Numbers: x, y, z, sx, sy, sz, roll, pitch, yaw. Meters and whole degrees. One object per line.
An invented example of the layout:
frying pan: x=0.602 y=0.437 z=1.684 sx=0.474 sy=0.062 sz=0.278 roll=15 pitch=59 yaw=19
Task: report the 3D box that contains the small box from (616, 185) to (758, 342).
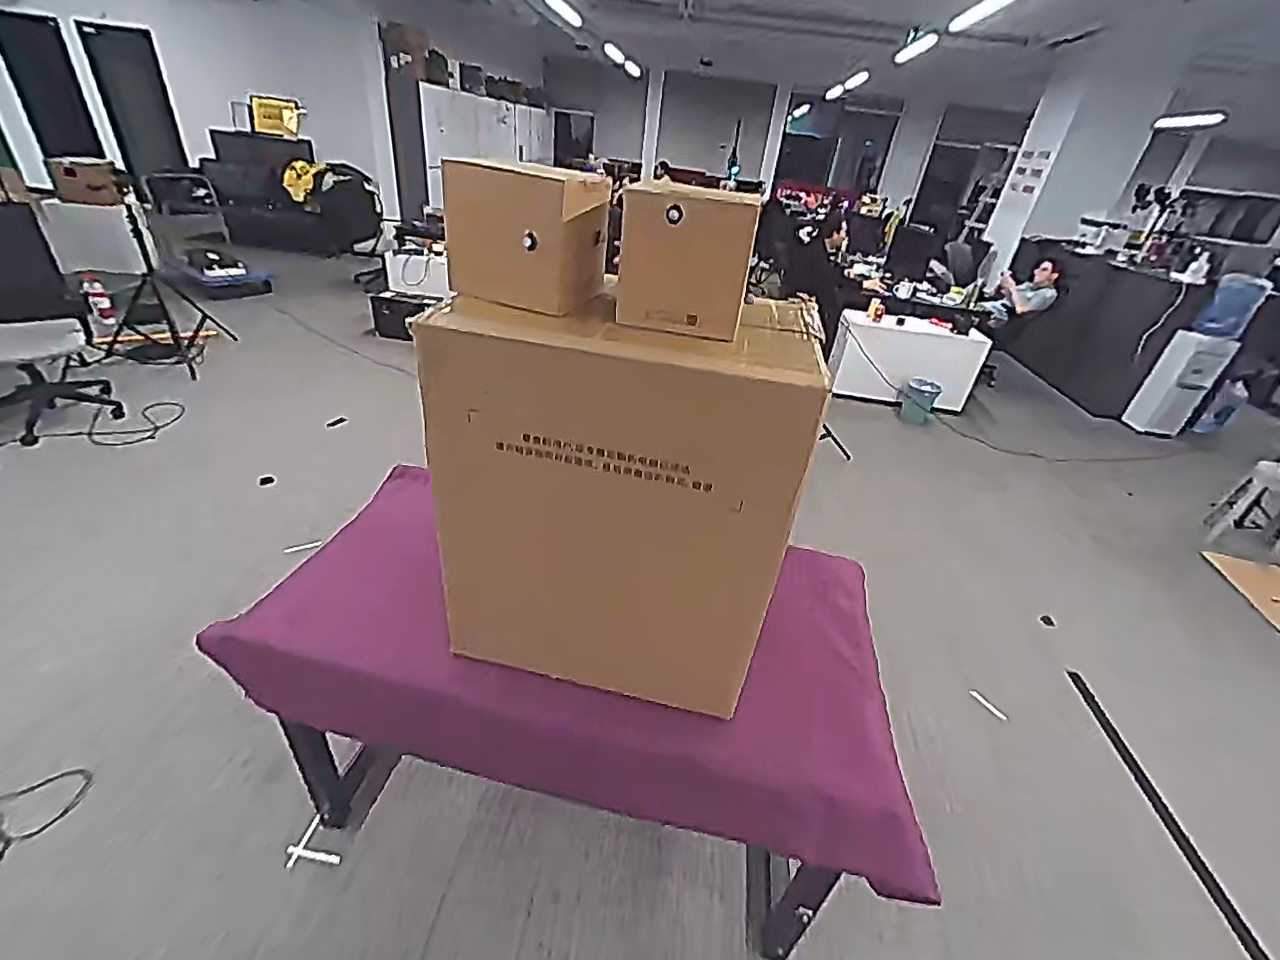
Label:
small box: x=0.066 y=-0.306 z=0.755 sx=0.168 sy=0.176 sz=0.179 roll=10 pitch=31 yaw=7
